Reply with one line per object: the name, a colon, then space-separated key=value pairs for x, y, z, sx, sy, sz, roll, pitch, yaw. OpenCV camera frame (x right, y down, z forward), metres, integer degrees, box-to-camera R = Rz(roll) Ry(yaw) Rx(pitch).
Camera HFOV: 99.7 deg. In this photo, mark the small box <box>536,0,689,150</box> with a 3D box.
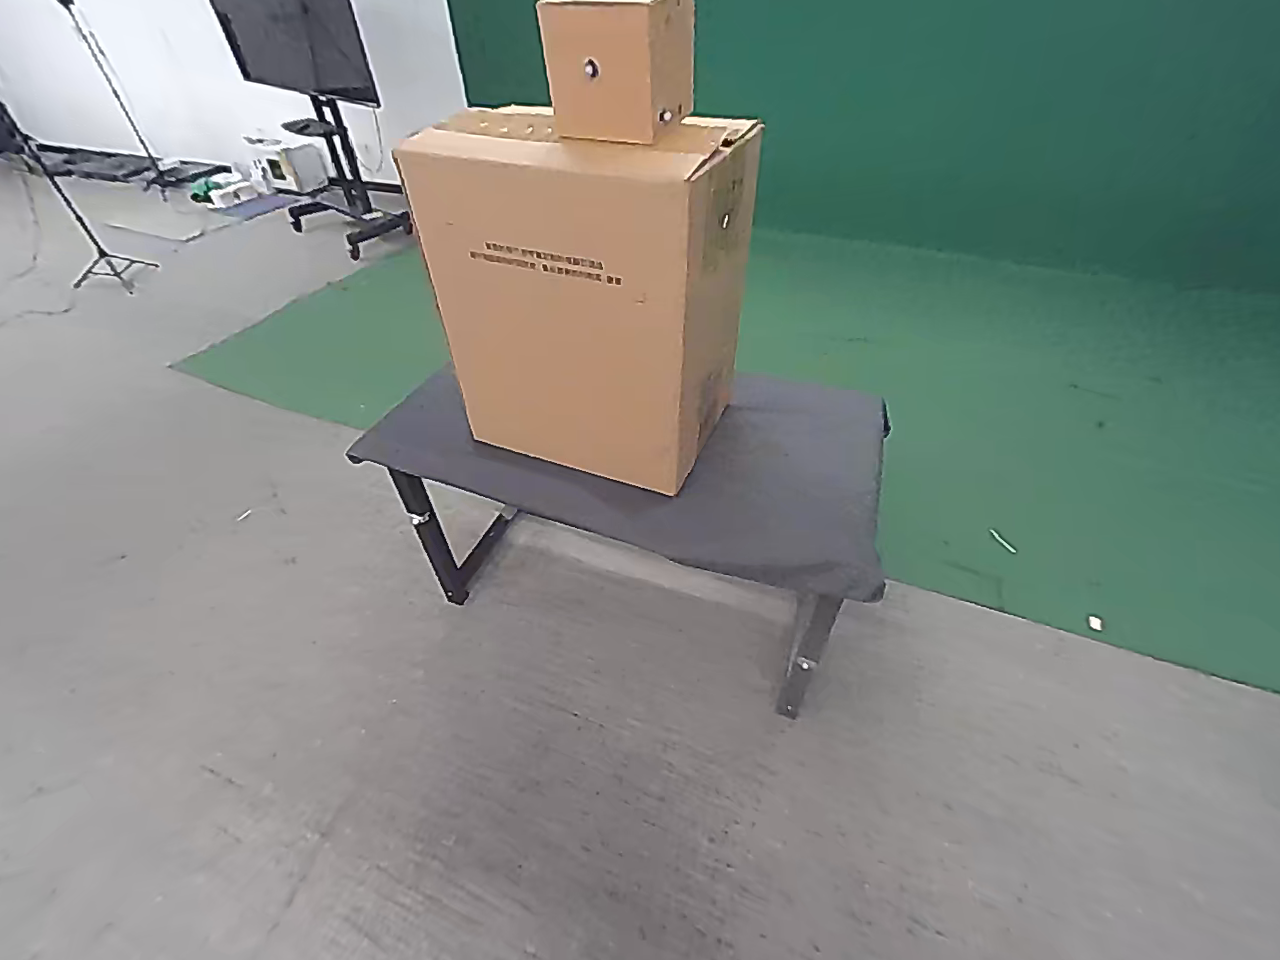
small box: x=-0.030 y=-0.633 z=0.838 sx=0.179 sy=0.176 sz=0.168 roll=16 pitch=53 yaw=19
